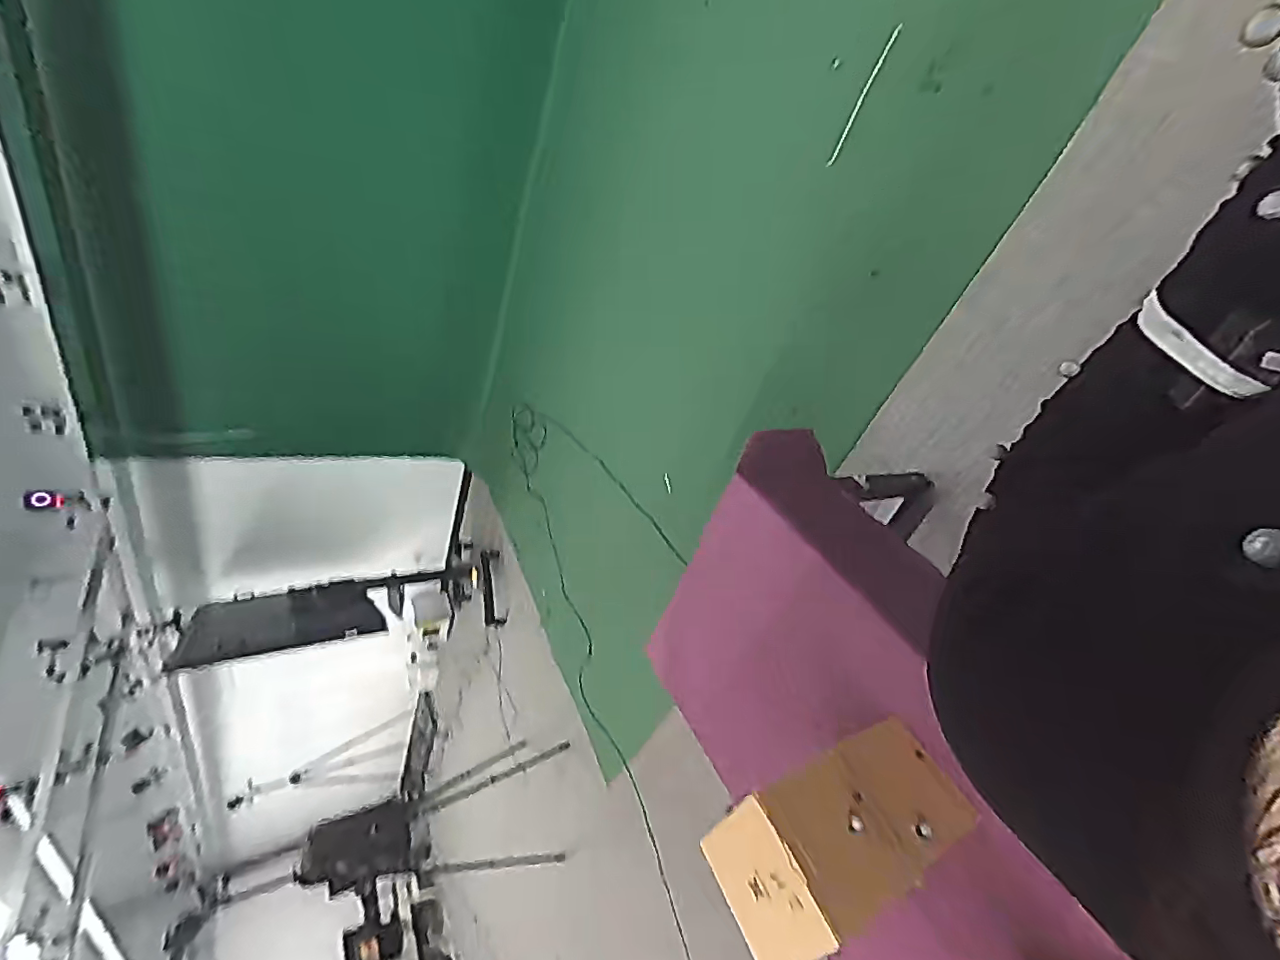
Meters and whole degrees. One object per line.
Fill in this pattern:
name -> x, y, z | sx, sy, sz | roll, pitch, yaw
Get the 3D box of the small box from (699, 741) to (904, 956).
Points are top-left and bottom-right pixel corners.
small box -> 0.216, 0.493, 0.738 | 0.168, 0.176, 0.179 | 55, 135, 36
